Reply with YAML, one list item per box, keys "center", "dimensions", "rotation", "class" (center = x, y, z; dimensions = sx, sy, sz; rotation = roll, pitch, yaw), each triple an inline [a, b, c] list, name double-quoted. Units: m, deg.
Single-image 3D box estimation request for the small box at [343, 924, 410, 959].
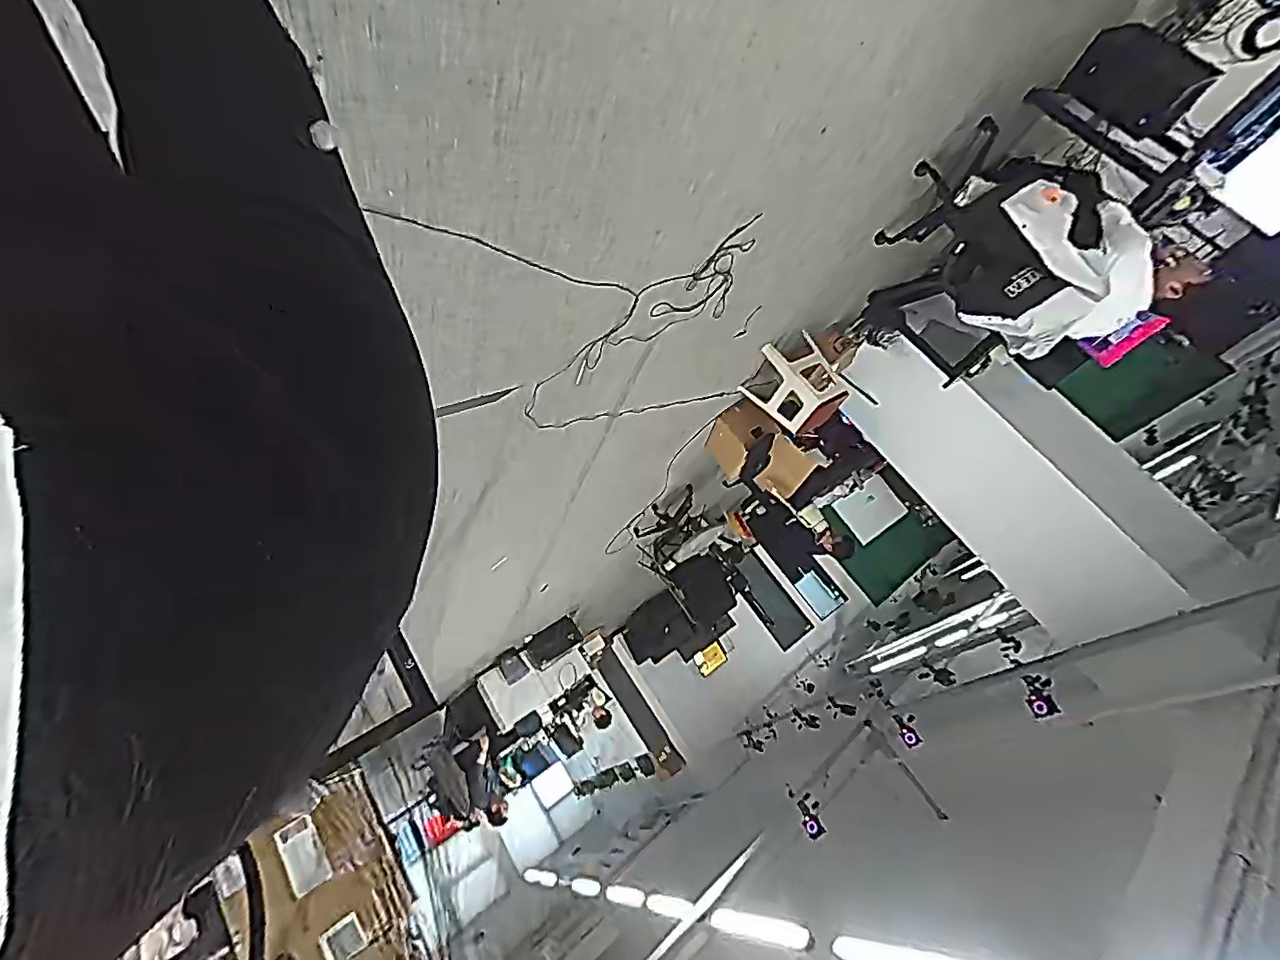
- center: [-0.811, 1.513, 1.662]
  dimensions: [0.168, 0.176, 0.179]
  rotation: [-24, 157, -28]
  class: "small box"
